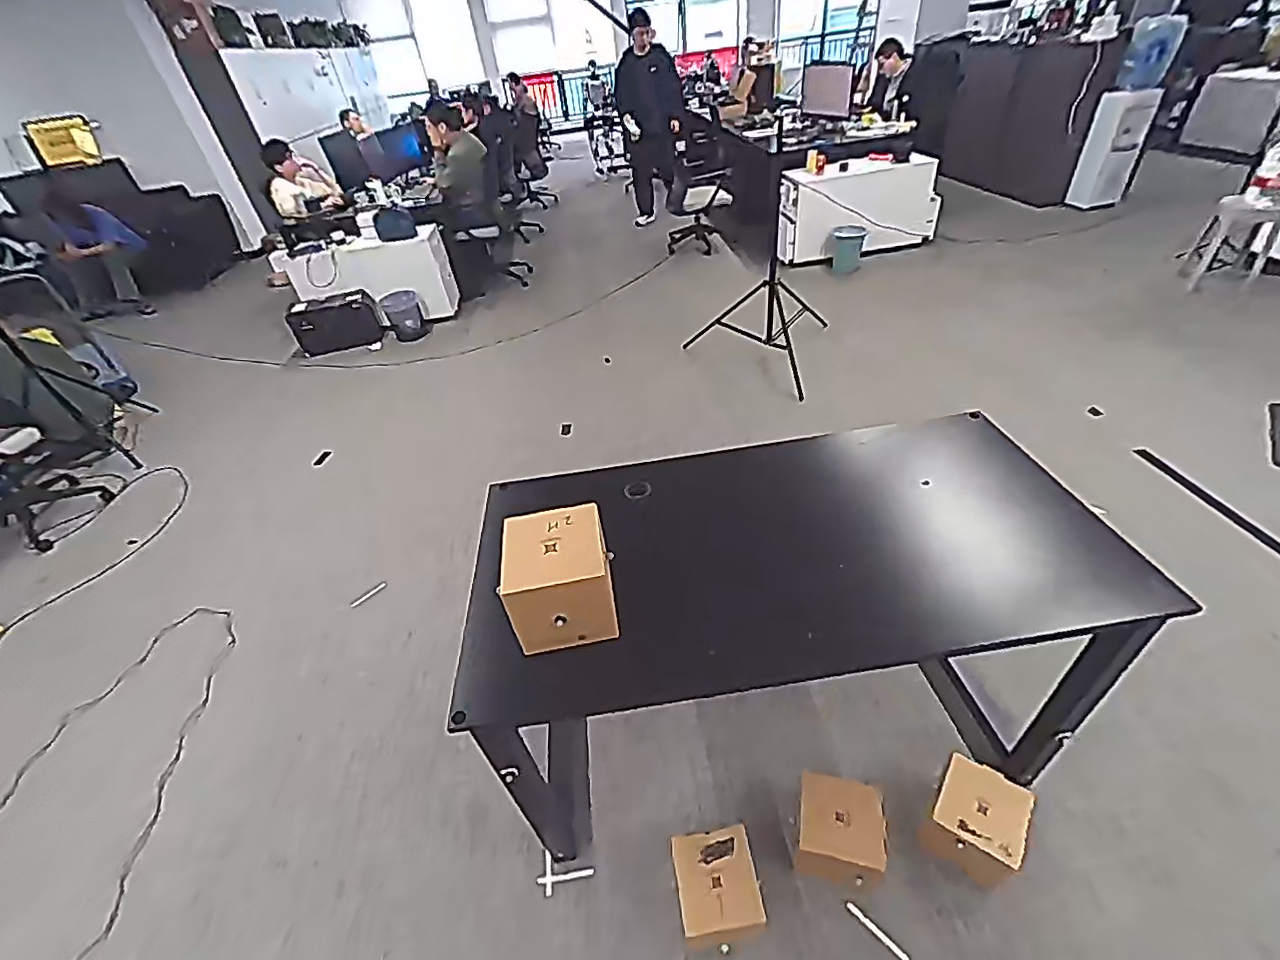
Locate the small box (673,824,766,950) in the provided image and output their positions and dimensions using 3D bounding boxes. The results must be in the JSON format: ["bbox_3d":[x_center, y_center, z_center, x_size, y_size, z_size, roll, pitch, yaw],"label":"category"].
[{"bbox_3d":[0.168,0.889,1.182,0.168,0.176,0.179,-10,41,-1],"label":"small box"}]

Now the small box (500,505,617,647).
[{"bbox_3d":[-0.139,0.173,0.948,0.168,0.176,0.179,-10,39,-3],"label":"small box"}]

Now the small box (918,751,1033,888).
[{"bbox_3d":[0.752,0.767,1.223,0.168,0.176,0.179,22,48,32],"label":"small box"}]

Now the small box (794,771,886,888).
[{"bbox_3d":[0.451,0.803,1.238,0.179,0.176,0.168,4,40,16],"label":"small box"}]
